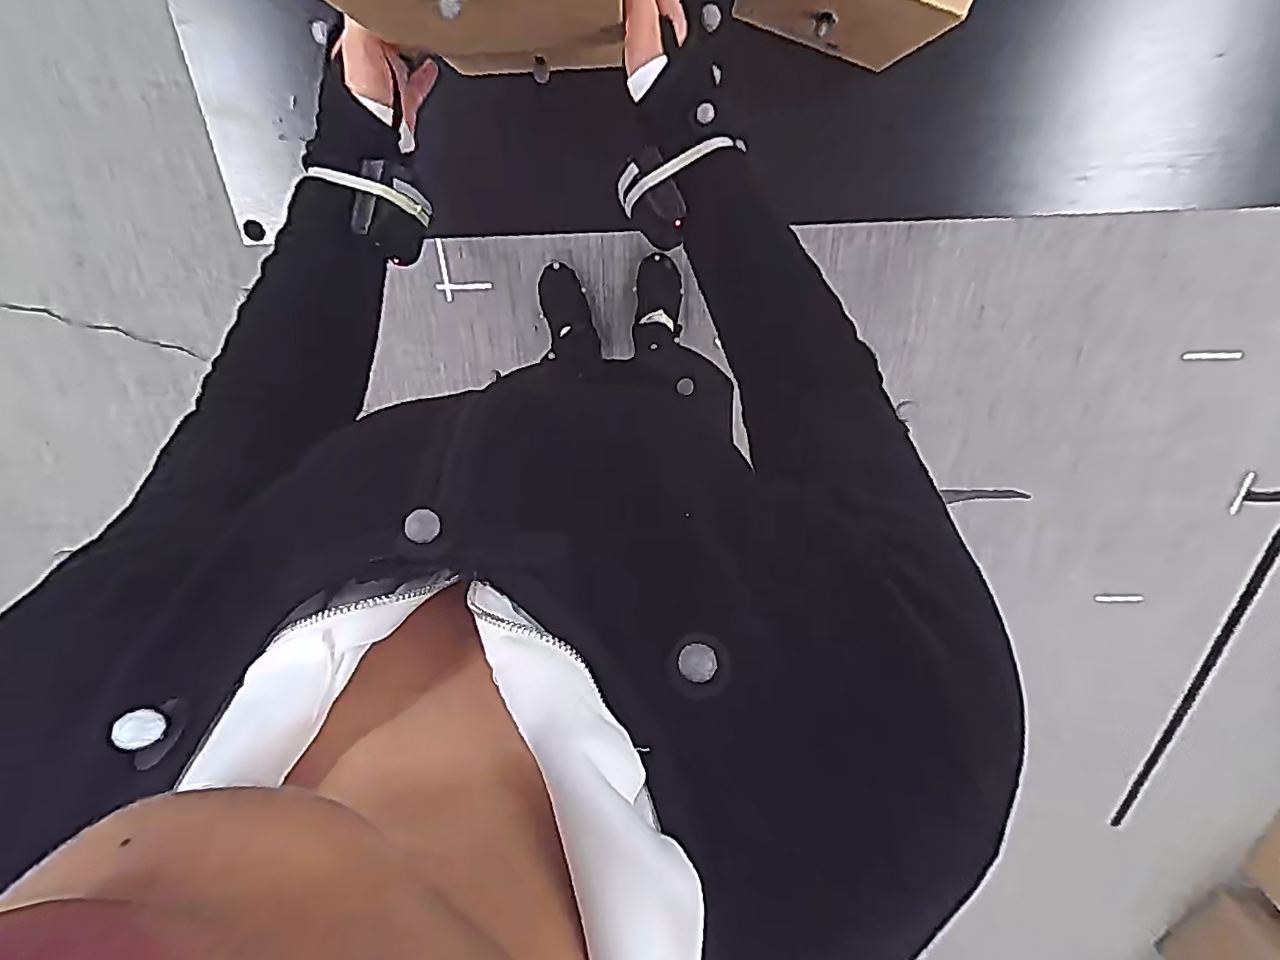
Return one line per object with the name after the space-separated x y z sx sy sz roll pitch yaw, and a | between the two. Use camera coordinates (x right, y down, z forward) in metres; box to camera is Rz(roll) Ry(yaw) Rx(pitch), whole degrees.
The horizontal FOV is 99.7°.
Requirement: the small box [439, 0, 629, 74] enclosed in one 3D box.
-0.102 -0.467 0.460 0.179 0.176 0.168 -3 115 0 | small box

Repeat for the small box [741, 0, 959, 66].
0.191 -0.489 0.452 0.168 0.176 0.179 15 114 -8 | small box

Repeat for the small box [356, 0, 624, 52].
-0.102 -0.378 0.319 0.179 0.176 0.168 -3 116 0 | small box
